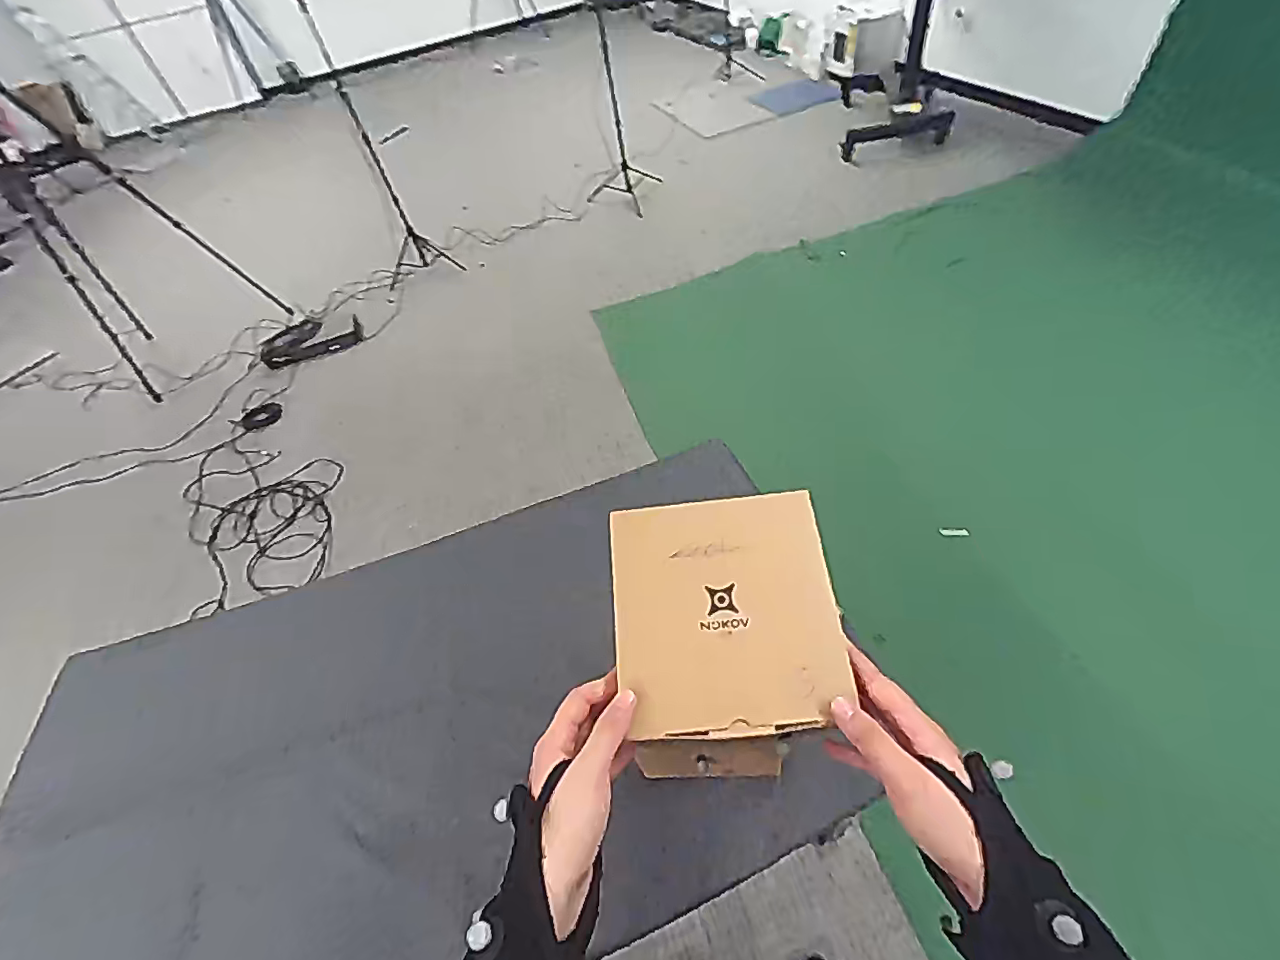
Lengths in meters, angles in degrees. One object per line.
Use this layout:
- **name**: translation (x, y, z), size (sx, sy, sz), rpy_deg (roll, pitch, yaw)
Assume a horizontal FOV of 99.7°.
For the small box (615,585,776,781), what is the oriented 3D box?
- **small box**: translation (0.069, 0.249, 0.648), size (0.168, 0.176, 0.179), rpy_deg (-6, 47, 7)
